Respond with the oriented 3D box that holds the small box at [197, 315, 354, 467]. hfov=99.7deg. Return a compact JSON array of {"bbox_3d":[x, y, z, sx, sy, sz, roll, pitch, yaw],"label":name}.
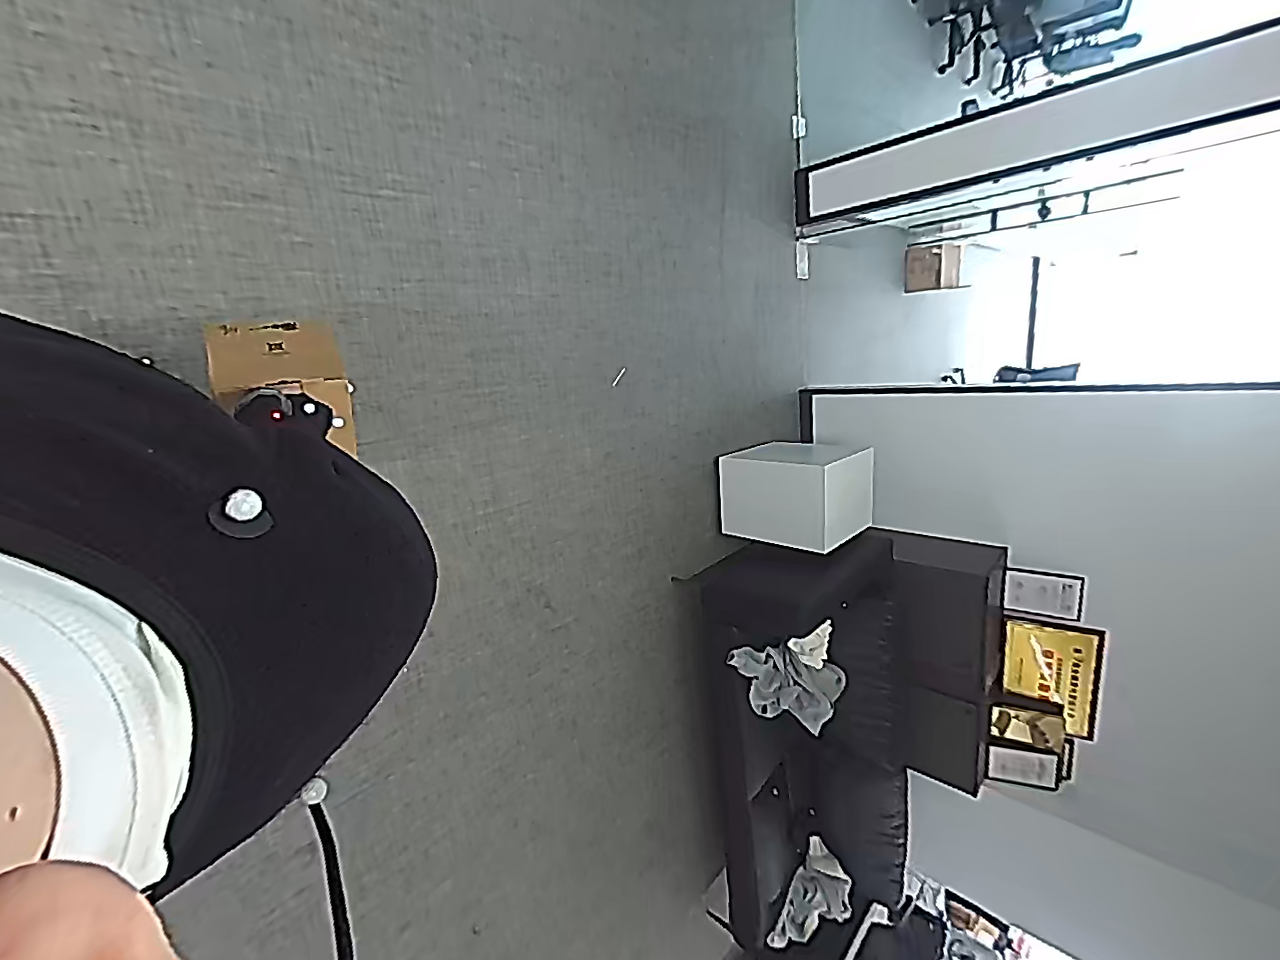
[{"bbox_3d":[-0.571,-0.138,0.861,0.168,0.179,0.176,-16,143,-32],"label":"small box"}]
